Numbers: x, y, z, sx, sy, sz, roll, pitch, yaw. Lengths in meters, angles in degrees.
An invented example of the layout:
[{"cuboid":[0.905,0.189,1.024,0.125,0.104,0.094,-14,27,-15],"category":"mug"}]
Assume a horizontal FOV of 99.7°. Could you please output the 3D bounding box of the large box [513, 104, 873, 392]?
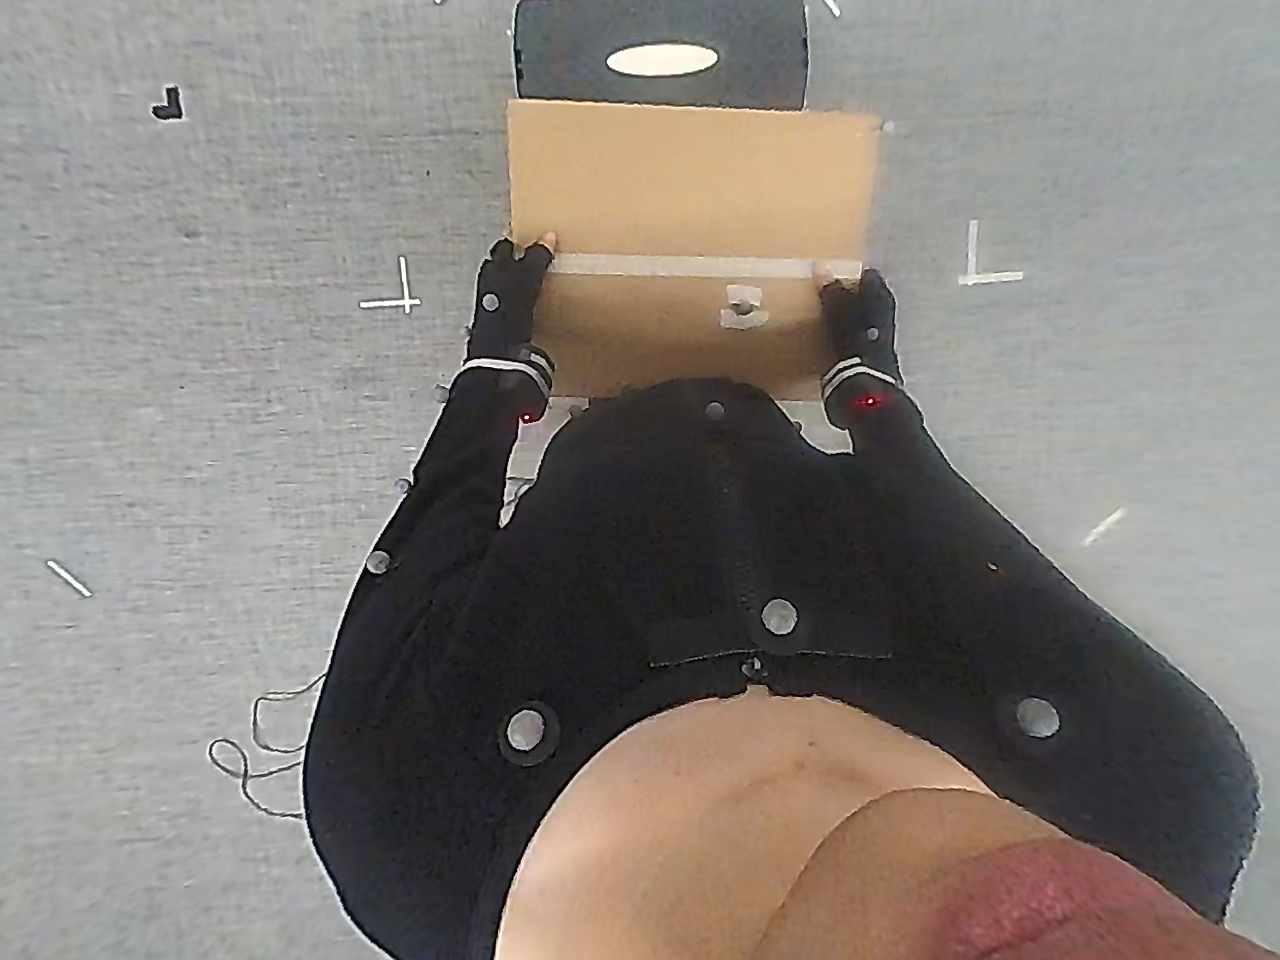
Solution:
[{"cuboid":[0.052,-0.306,0.778,0.408,0.320,0.320,0,110,-3],"category":"large box"}]
